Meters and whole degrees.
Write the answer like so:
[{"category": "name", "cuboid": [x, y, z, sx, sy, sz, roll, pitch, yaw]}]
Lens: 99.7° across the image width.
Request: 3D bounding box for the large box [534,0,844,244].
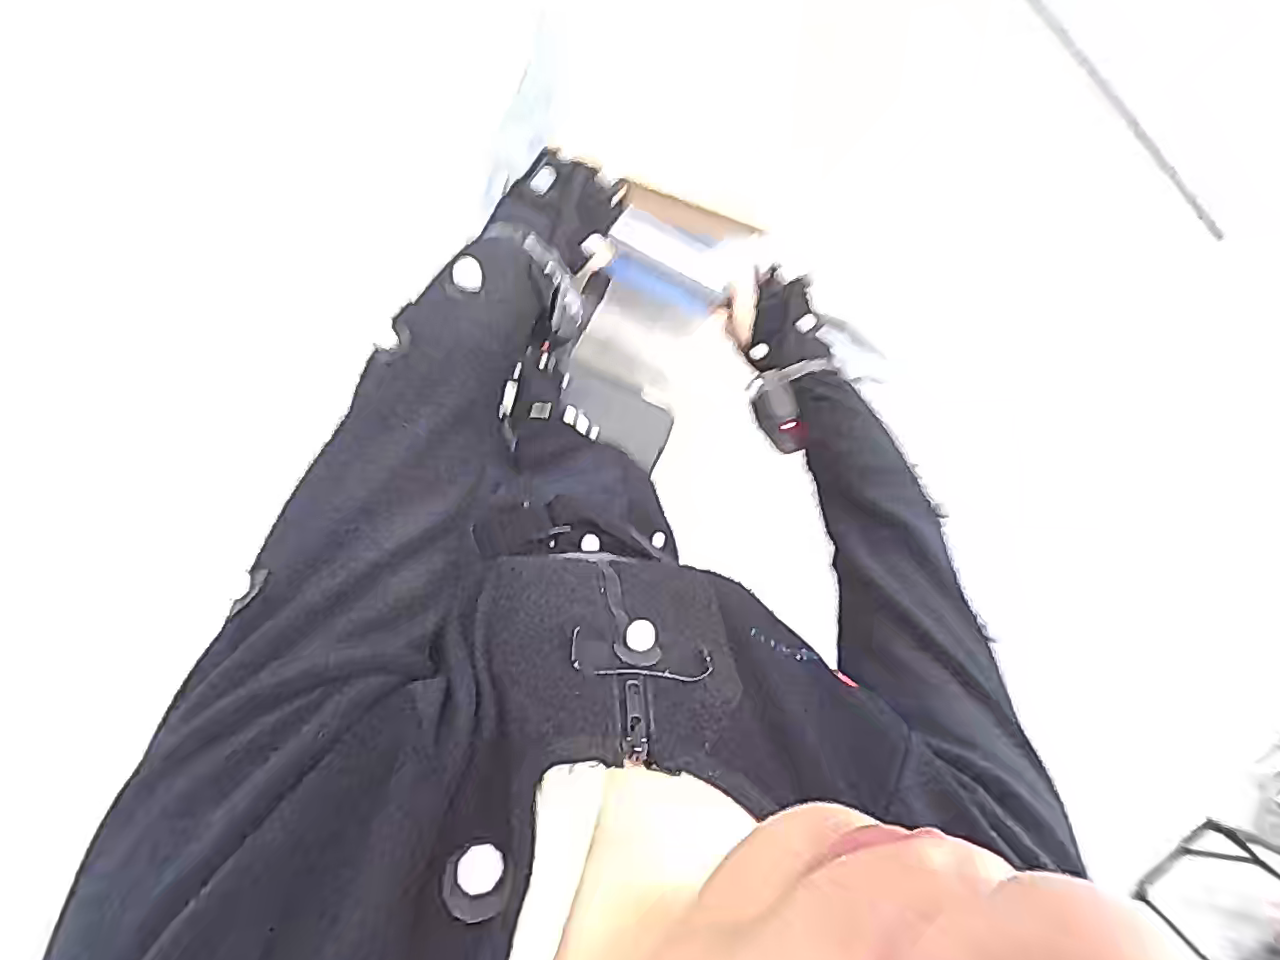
[{"category": "large box", "cuboid": [0.051, -0.632, 0.935, 0.408, 0.320, 0.320, 10, 108, -19]}]
